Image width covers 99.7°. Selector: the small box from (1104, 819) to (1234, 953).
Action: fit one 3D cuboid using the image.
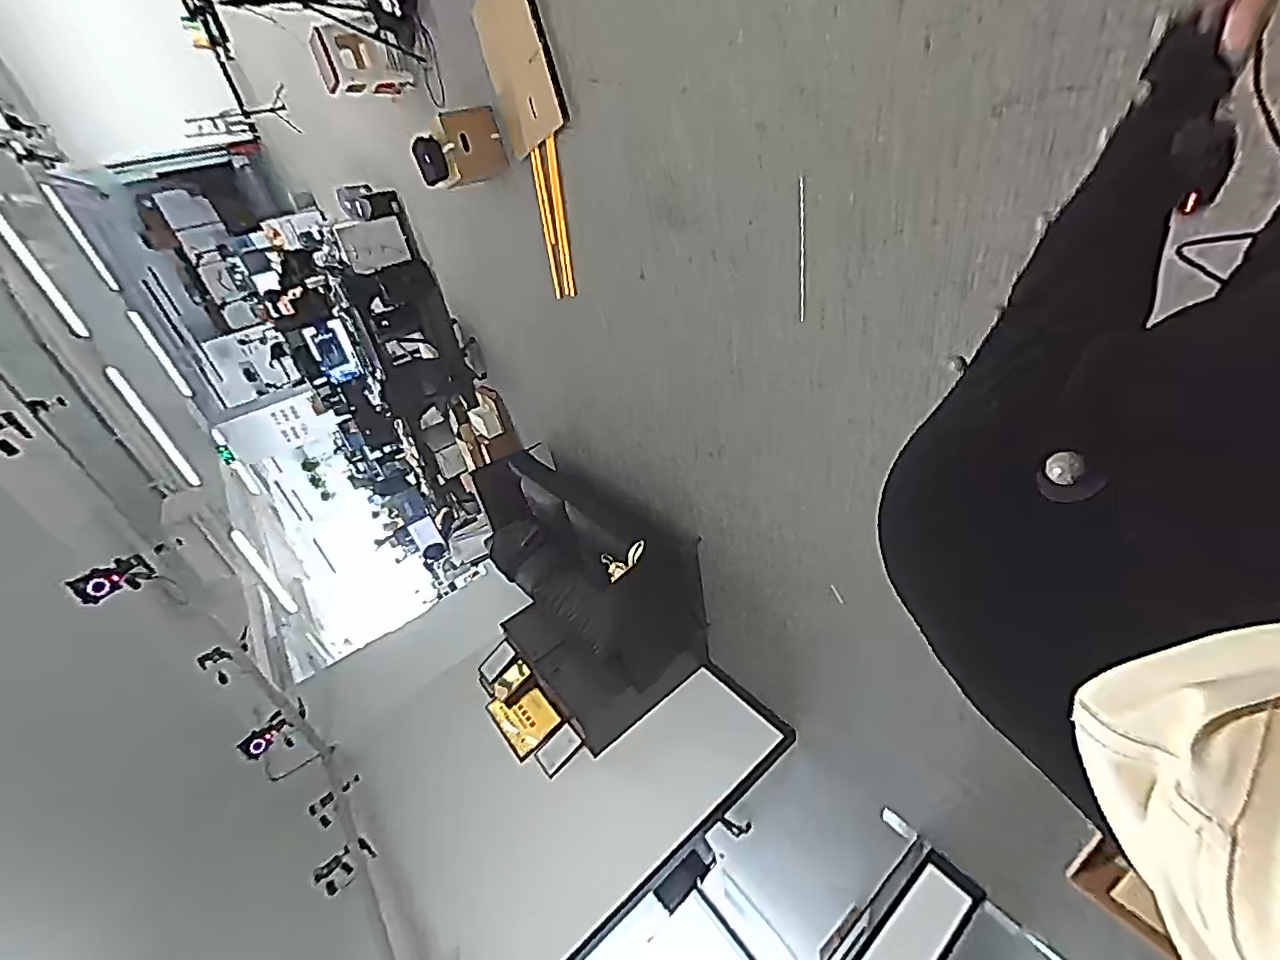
[{"bbox_3d":[1.272,0.968,1.302,0.168,0.176,0.179,30,142,44],"label":"small box"}]
